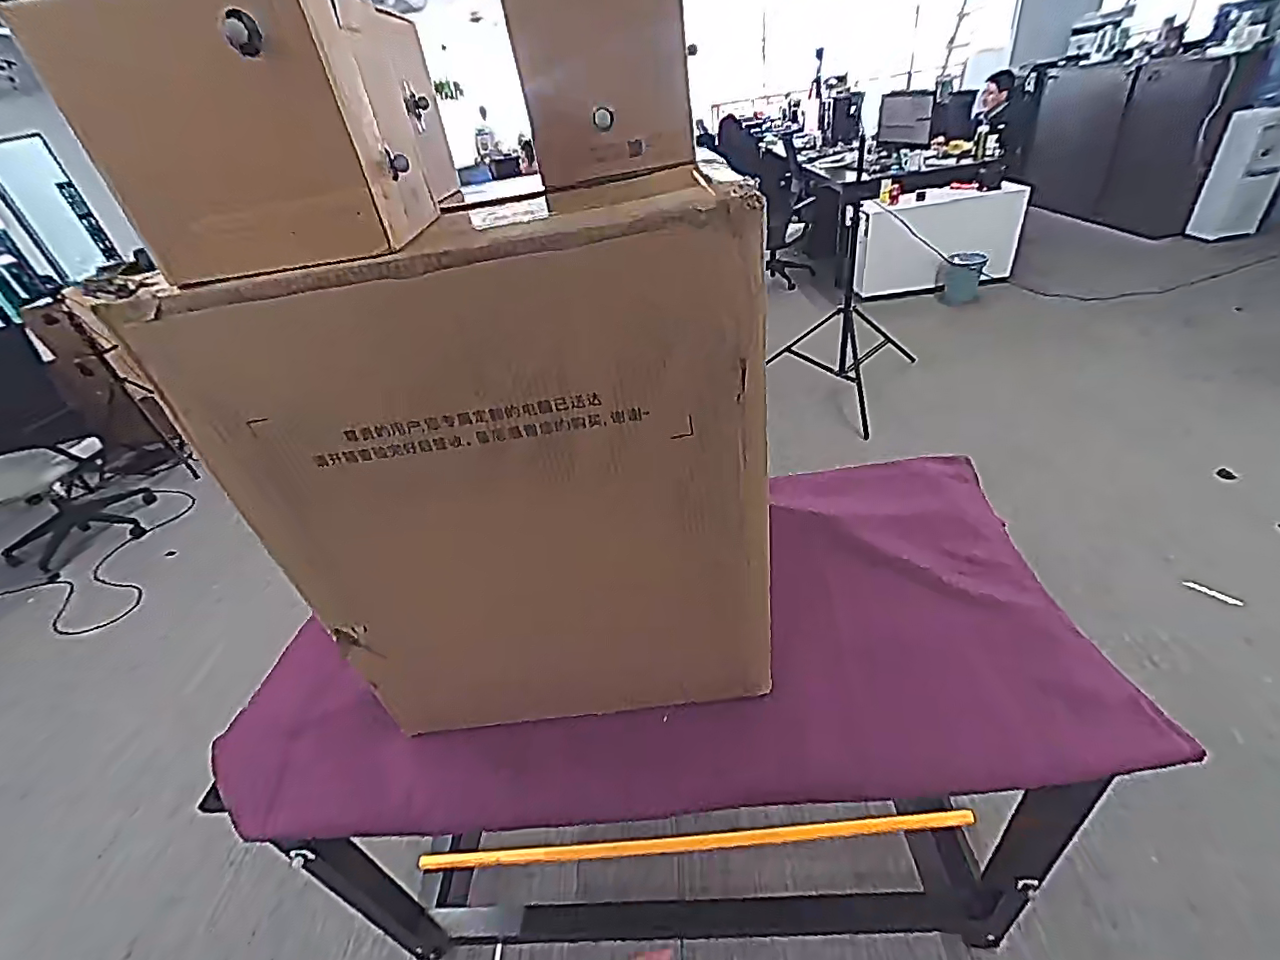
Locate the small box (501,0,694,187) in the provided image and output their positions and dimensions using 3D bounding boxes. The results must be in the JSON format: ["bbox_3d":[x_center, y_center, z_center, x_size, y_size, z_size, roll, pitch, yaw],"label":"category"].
[{"bbox_3d":[-0.034,-0.430,0.588,0.168,0.176,0.179,-7,35,6],"label":"small box"}]
